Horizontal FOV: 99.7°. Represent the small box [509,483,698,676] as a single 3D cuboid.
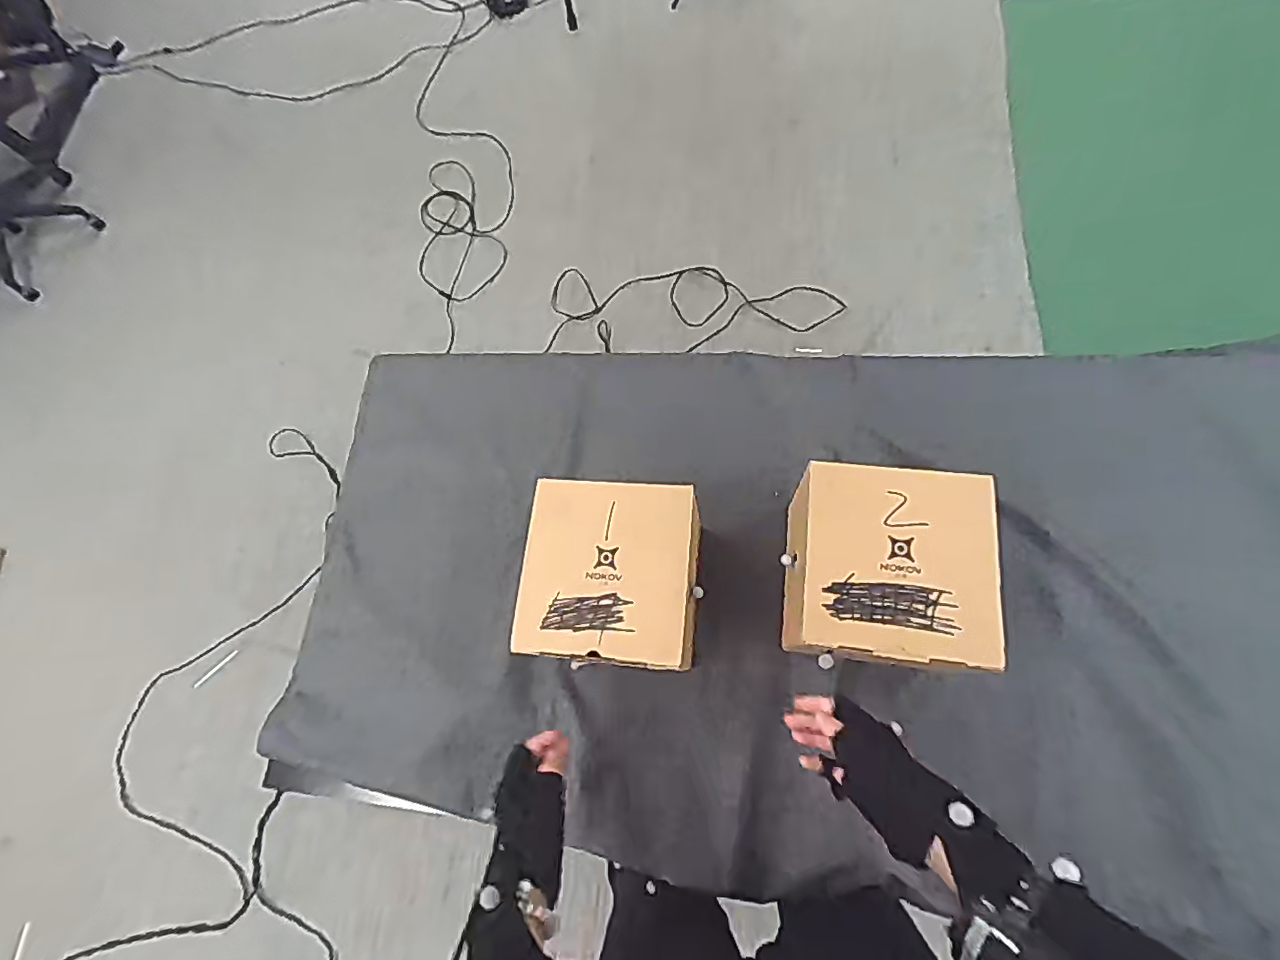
[{"bbox_3d":[-0.025,0.114,0.598,0.168,0.176,0.179,3,71,9],"label":"small box"}]
